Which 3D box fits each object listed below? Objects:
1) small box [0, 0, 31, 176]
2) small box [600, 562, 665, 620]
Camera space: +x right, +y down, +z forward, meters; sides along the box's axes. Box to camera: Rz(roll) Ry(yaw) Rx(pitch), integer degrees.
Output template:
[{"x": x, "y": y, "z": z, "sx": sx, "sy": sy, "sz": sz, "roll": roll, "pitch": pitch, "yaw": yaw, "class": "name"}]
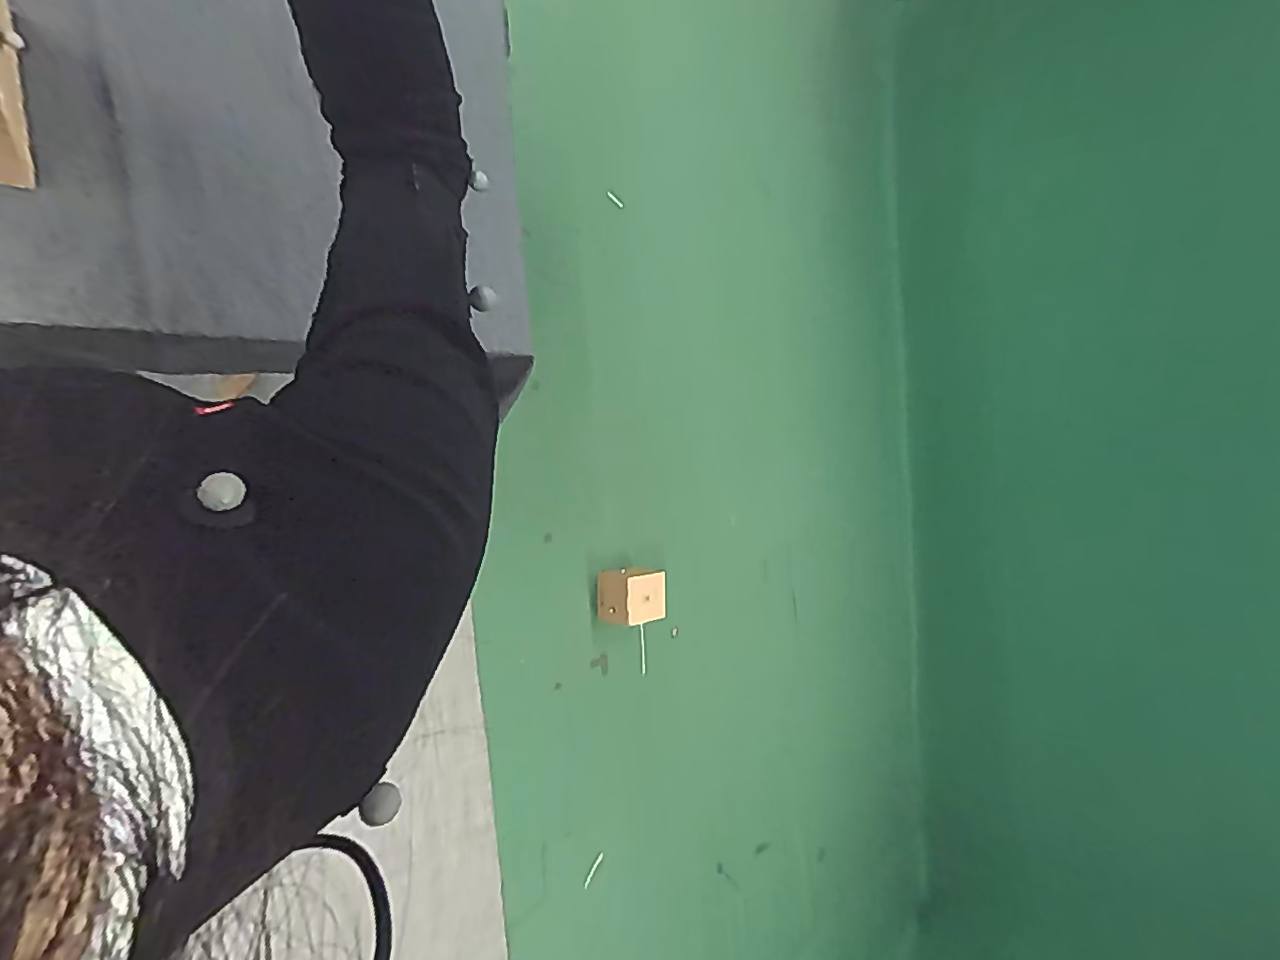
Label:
[{"x": -0.619, "y": -0.372, "z": 0.420, "sx": 0.168, "sy": 0.176, "sz": 0.179, "roll": -9, "pitch": 95, "yaw": -42, "class": "small box"}, {"x": -0.029, "y": 0.388, "z": 1.916, "sx": 0.179, "sy": 0.176, "sz": 0.168, "roll": -1, "pitch": 91, "yaw": -42, "class": "small box"}]
